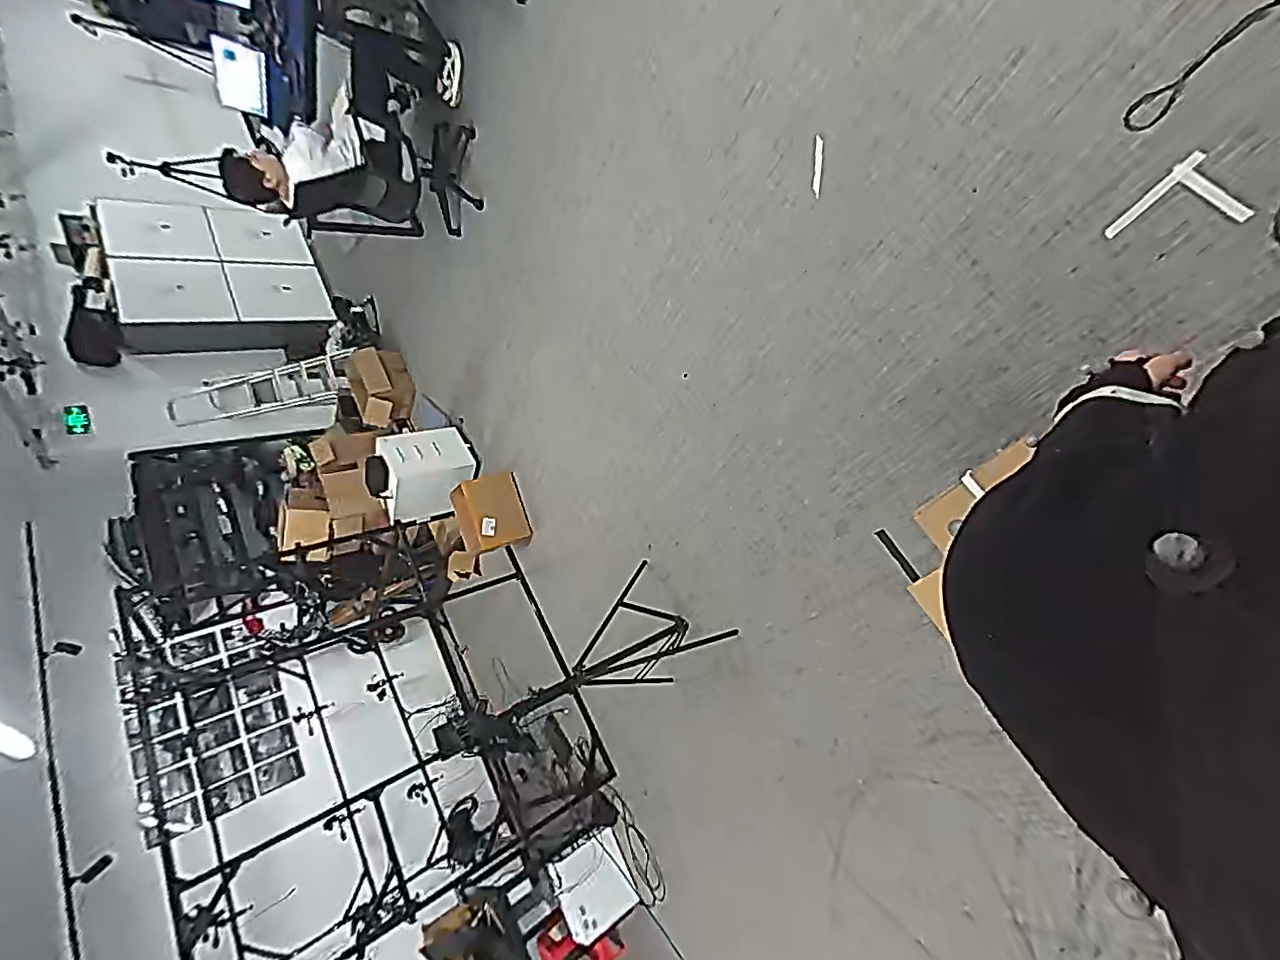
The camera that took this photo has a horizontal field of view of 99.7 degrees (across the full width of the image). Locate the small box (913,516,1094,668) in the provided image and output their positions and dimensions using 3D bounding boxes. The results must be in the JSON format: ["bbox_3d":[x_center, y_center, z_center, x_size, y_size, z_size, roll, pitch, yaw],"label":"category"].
[{"bbox_3d":[0.613,0.182,0.909,0.168,0.176,0.179,58,140,23],"label":"small box"}]
